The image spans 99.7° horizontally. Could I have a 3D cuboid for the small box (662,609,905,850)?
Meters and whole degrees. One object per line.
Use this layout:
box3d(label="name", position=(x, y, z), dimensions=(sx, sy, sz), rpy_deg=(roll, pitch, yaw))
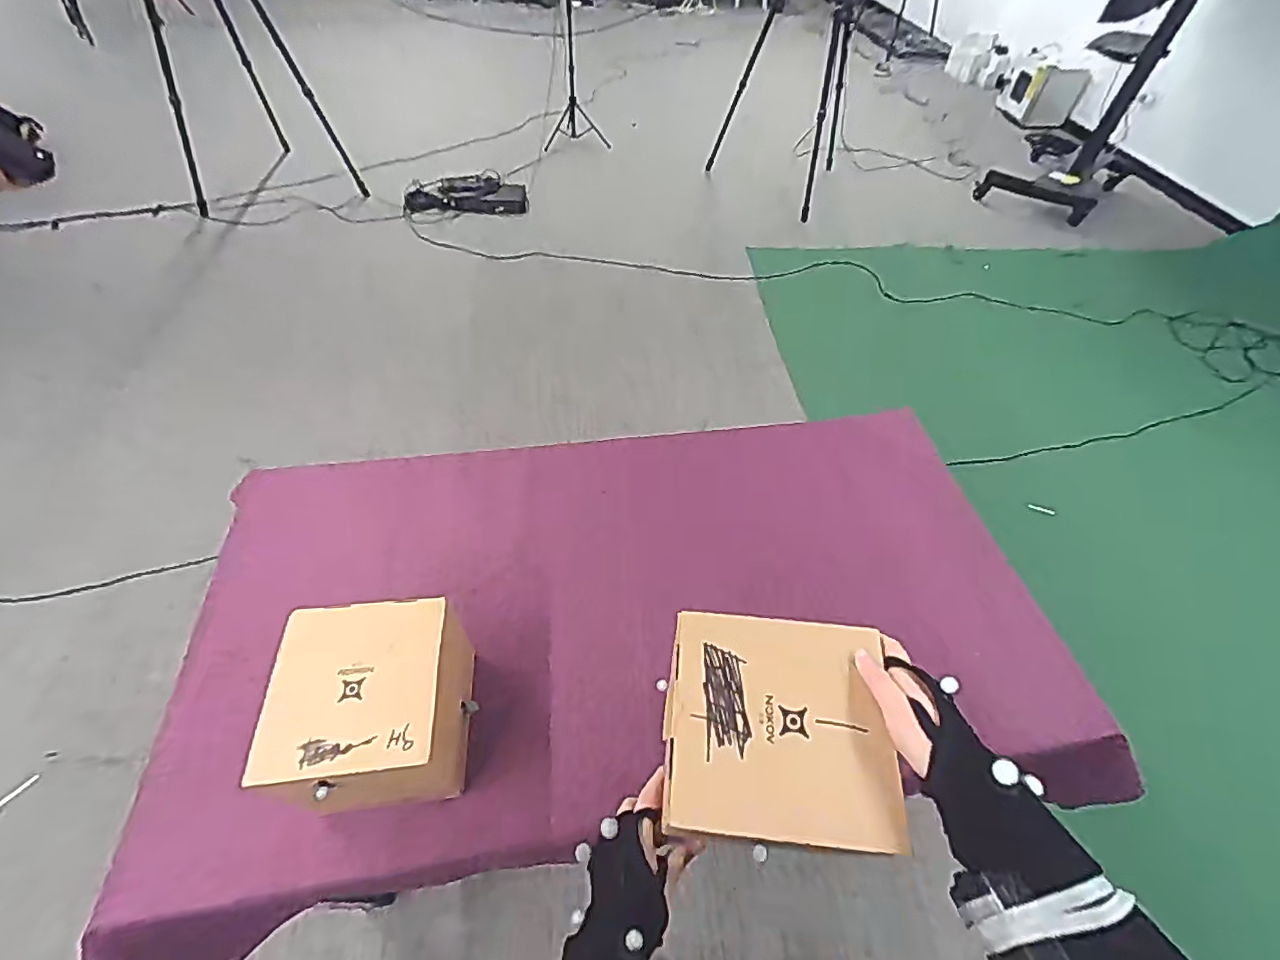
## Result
box3d(label="small box", position=(0.113, 0.234, 0.500), dimensions=(0.179, 0.176, 0.168), rpy_deg=(5, 56, 3))

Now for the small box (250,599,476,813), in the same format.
box3d(label="small box", position=(-0.288, 0.257, 0.614), dimensions=(0.168, 0.176, 0.179), rpy_deg=(-4, 51, -6))
